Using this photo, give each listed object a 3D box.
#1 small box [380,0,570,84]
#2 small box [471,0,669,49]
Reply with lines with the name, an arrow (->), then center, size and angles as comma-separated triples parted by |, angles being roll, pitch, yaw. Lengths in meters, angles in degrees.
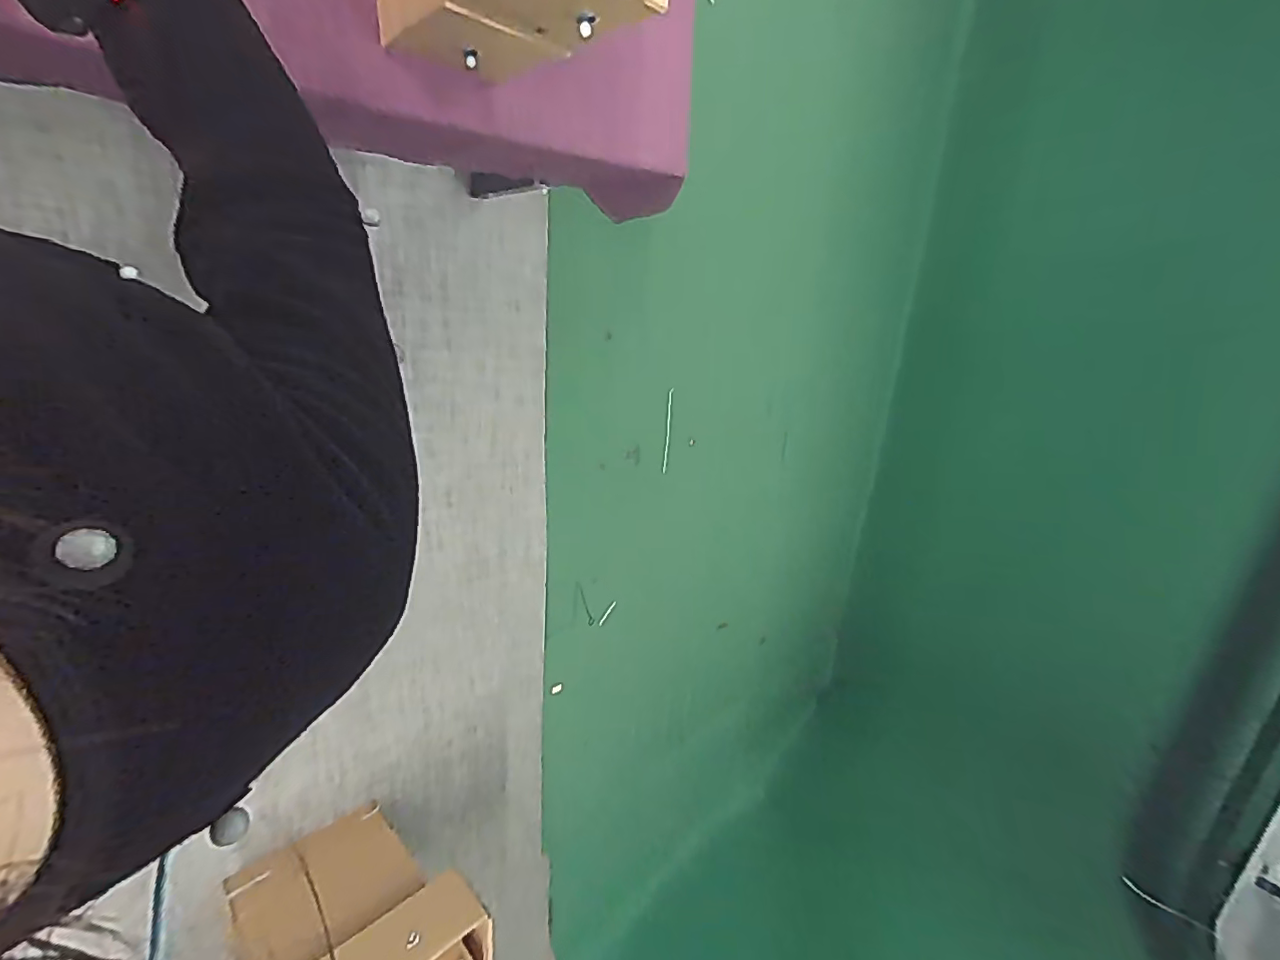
small box -> -0.196, -0.601, 0.635 | 0.168, 0.176, 0.179 | -16, 115, -43
small box -> -0.081, -0.564, 0.526 | 0.168, 0.176, 0.179 | -14, 114, -44
